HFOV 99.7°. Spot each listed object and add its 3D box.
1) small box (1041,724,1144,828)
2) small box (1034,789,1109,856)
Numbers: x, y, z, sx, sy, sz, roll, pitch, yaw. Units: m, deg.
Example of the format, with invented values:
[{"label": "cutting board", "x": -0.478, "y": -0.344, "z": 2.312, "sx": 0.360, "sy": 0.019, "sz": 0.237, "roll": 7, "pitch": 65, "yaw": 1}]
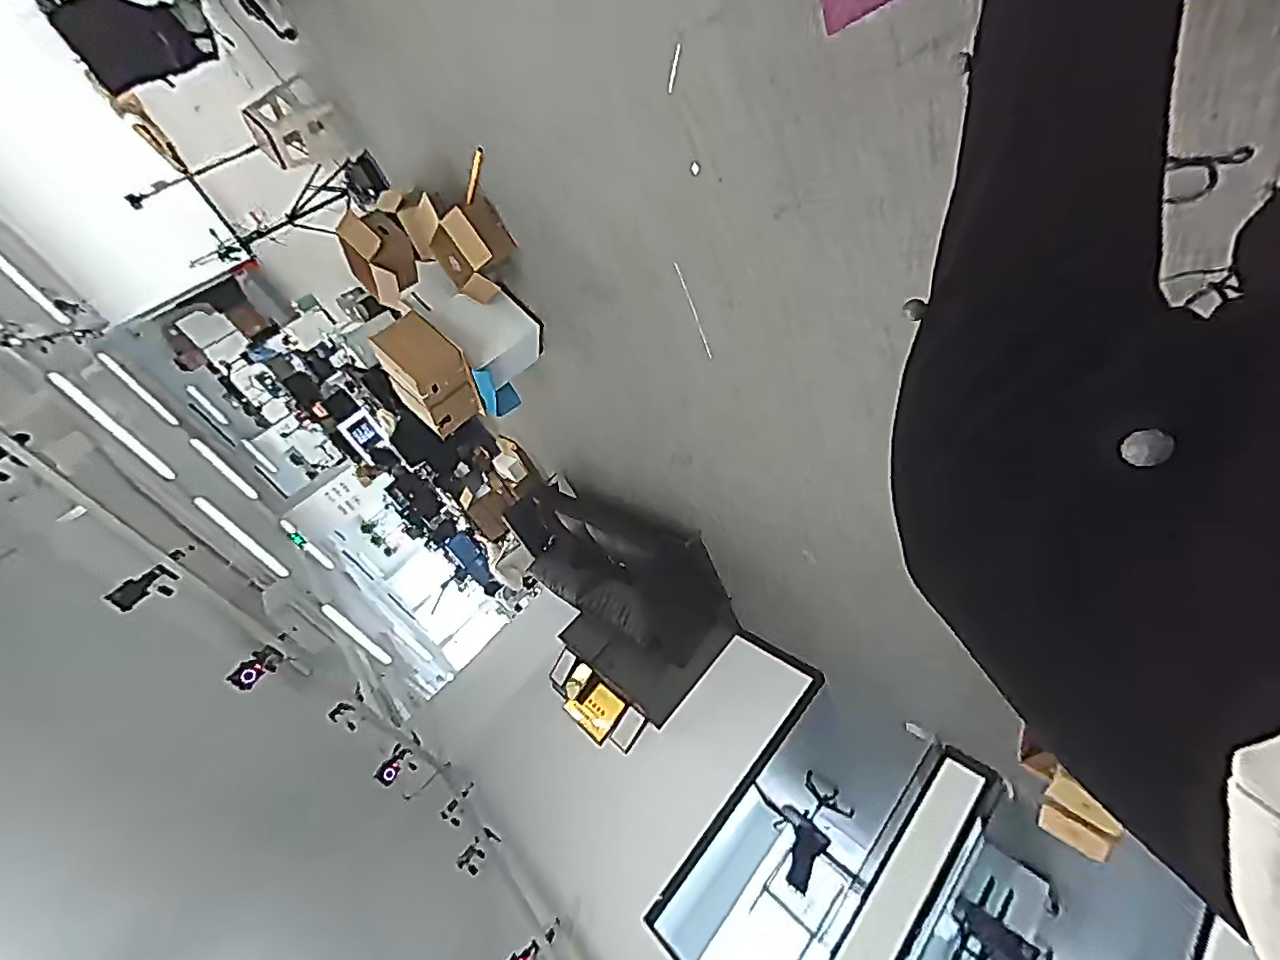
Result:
[{"label": "small box", "x": 1.266, "y": 0.822, "z": 1.514, "sx": 0.168, "sy": 0.176, "sz": 0.179, "roll": 27, "pitch": 151, "yaw": 40}, {"label": "small box", "x": 1.350, "y": 0.998, "z": 1.666, "sx": 0.168, "sy": 0.176, "sz": 0.179, "roll": 22, "pitch": 145, "yaw": 46}]
